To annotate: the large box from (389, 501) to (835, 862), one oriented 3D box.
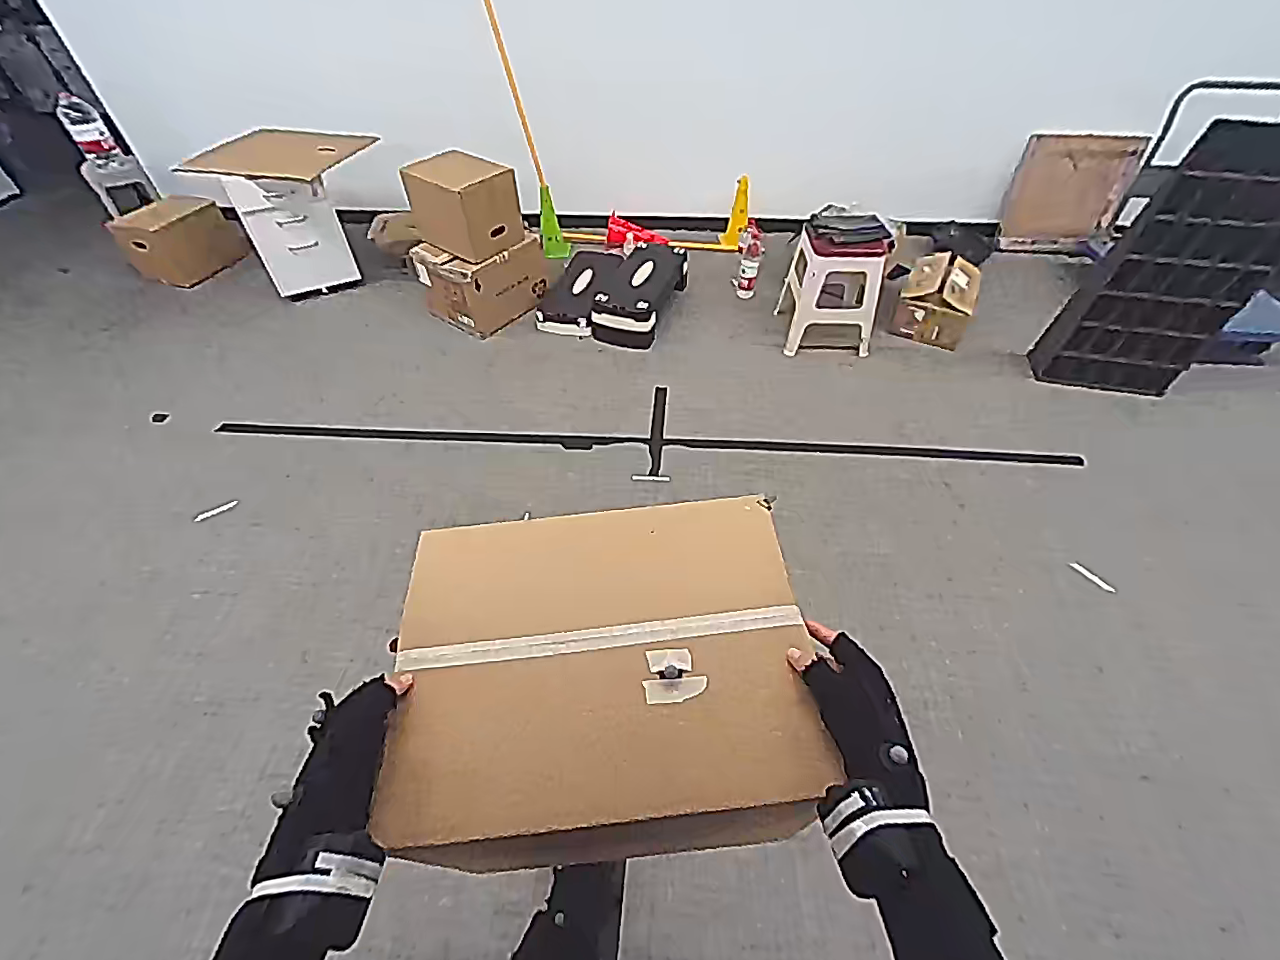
[{"bbox_3d":[-0.032,0.257,0.679,0.408,0.320,0.320,-6,52,-1],"label":"large box"}]
